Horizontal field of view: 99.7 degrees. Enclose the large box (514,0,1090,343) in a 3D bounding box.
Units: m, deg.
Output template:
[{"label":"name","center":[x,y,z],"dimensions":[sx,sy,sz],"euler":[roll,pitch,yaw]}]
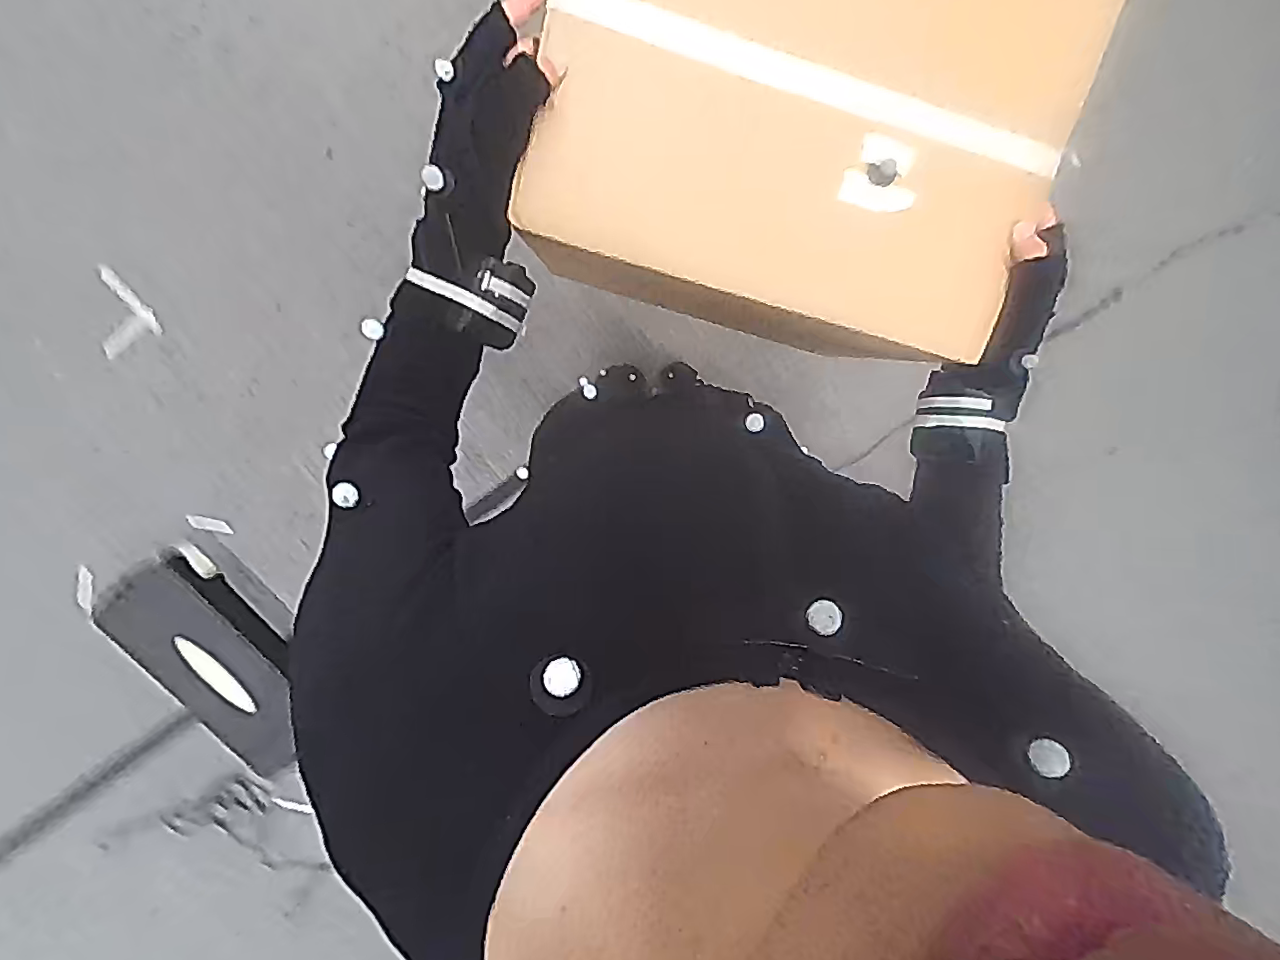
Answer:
[{"label":"large box","center":[0.114,-0.340,0.555],"dimensions":[0.408,0.320,0.320],"euler":[13,103,-7]}]
